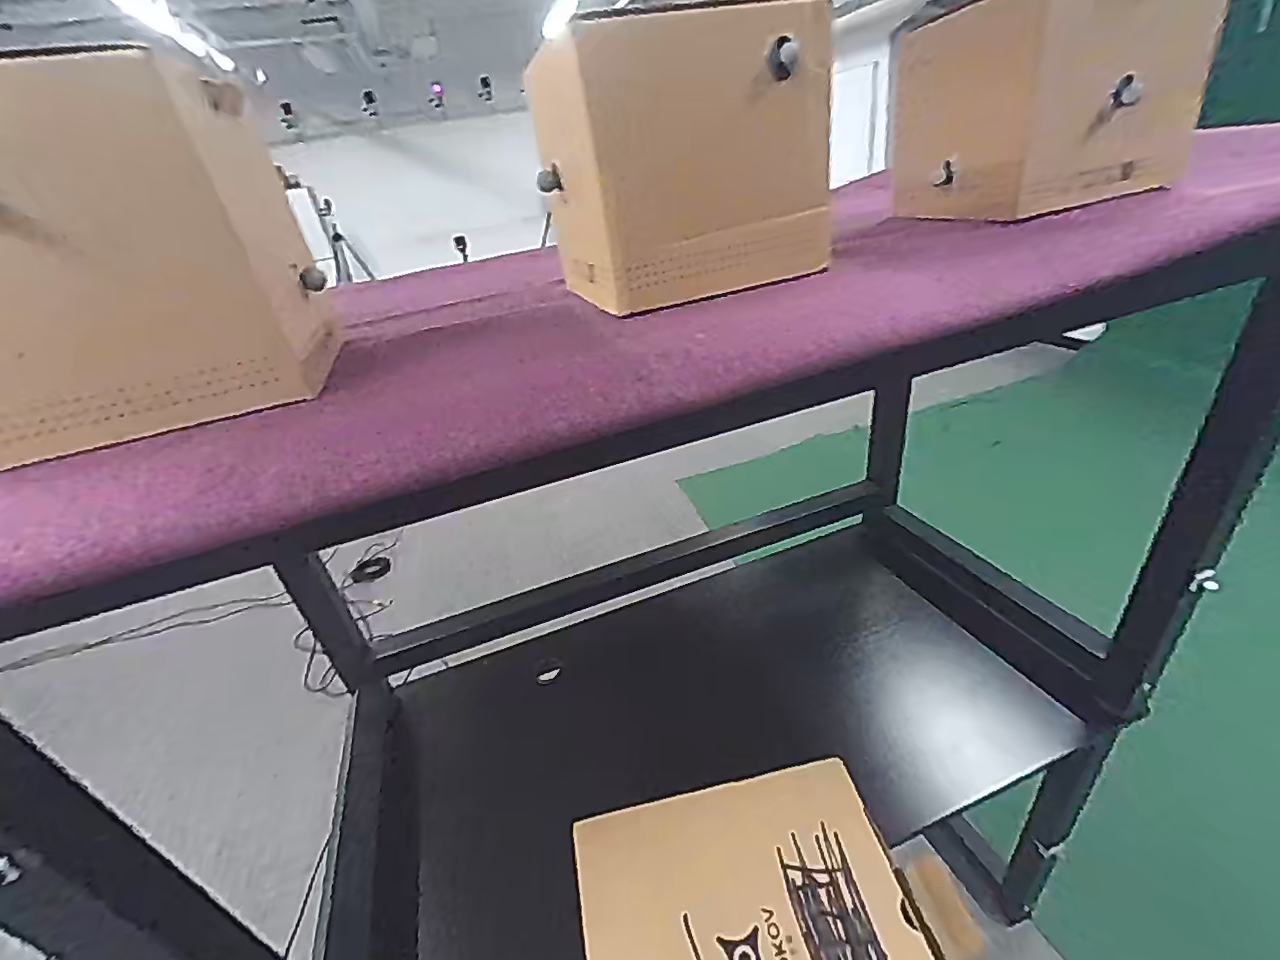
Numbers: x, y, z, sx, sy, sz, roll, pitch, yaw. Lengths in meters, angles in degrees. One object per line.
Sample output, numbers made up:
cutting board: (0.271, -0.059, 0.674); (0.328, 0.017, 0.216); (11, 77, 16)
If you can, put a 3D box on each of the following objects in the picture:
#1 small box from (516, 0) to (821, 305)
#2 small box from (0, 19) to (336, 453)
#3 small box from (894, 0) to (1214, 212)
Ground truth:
small box: (0.021, -0.241, 0.411); (0.179, 0.176, 0.168); (-17, 30, -13)
small box: (-0.311, -0.130, 0.312); (0.179, 0.176, 0.168); (-17, 32, -13)
small box: (0.357, -0.350, 0.490); (0.168, 0.176, 0.179); (-15, 29, -6)
